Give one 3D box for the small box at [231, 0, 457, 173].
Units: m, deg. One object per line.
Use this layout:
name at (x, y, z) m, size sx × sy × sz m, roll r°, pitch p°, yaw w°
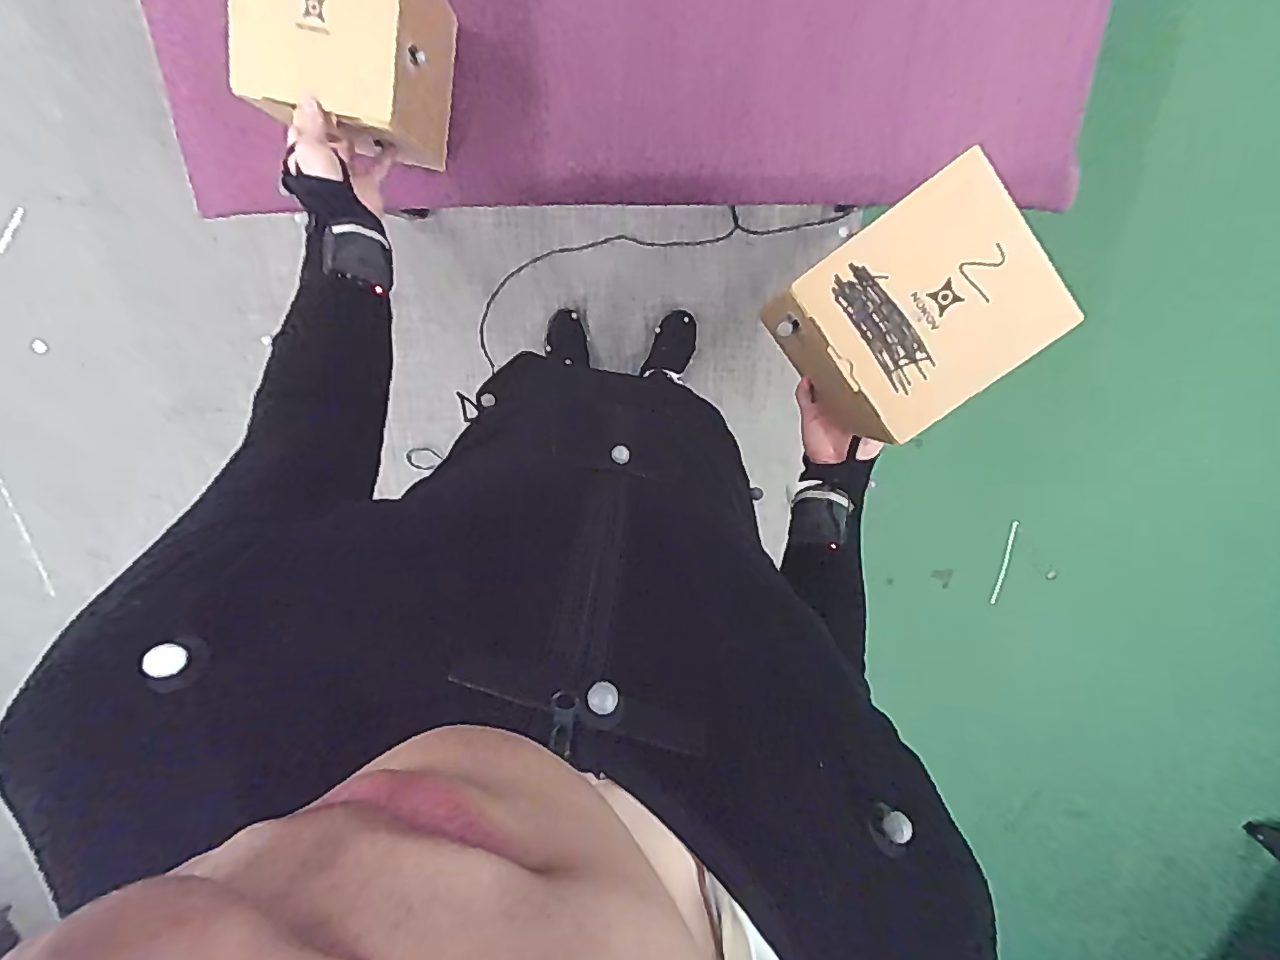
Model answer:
small box at (-0.322, -0.478, 0.616) m, size 0.168 × 0.176 × 0.179 m, roll 12°, pitch 105°, yaw -3°
